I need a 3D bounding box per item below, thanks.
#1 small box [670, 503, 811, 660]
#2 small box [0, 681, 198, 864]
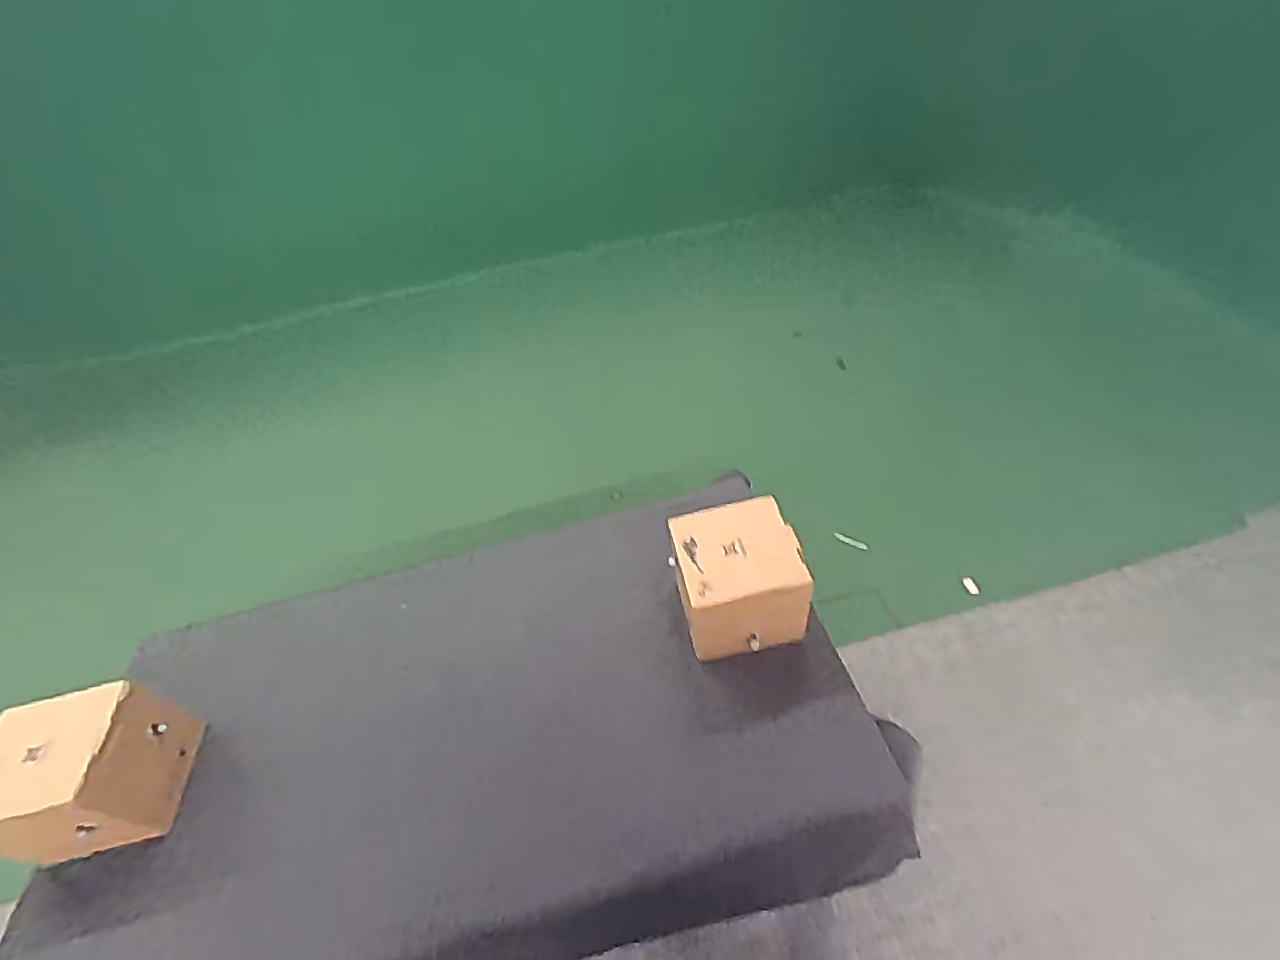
[{"bbox_3d":[0.152,0.165,0.867,0.179,0.176,0.168,-12,46,-2],"label":"small box"},{"bbox_3d":[-0.790,0.415,0.765,0.179,0.176,0.168,-12,44,-3],"label":"small box"}]
